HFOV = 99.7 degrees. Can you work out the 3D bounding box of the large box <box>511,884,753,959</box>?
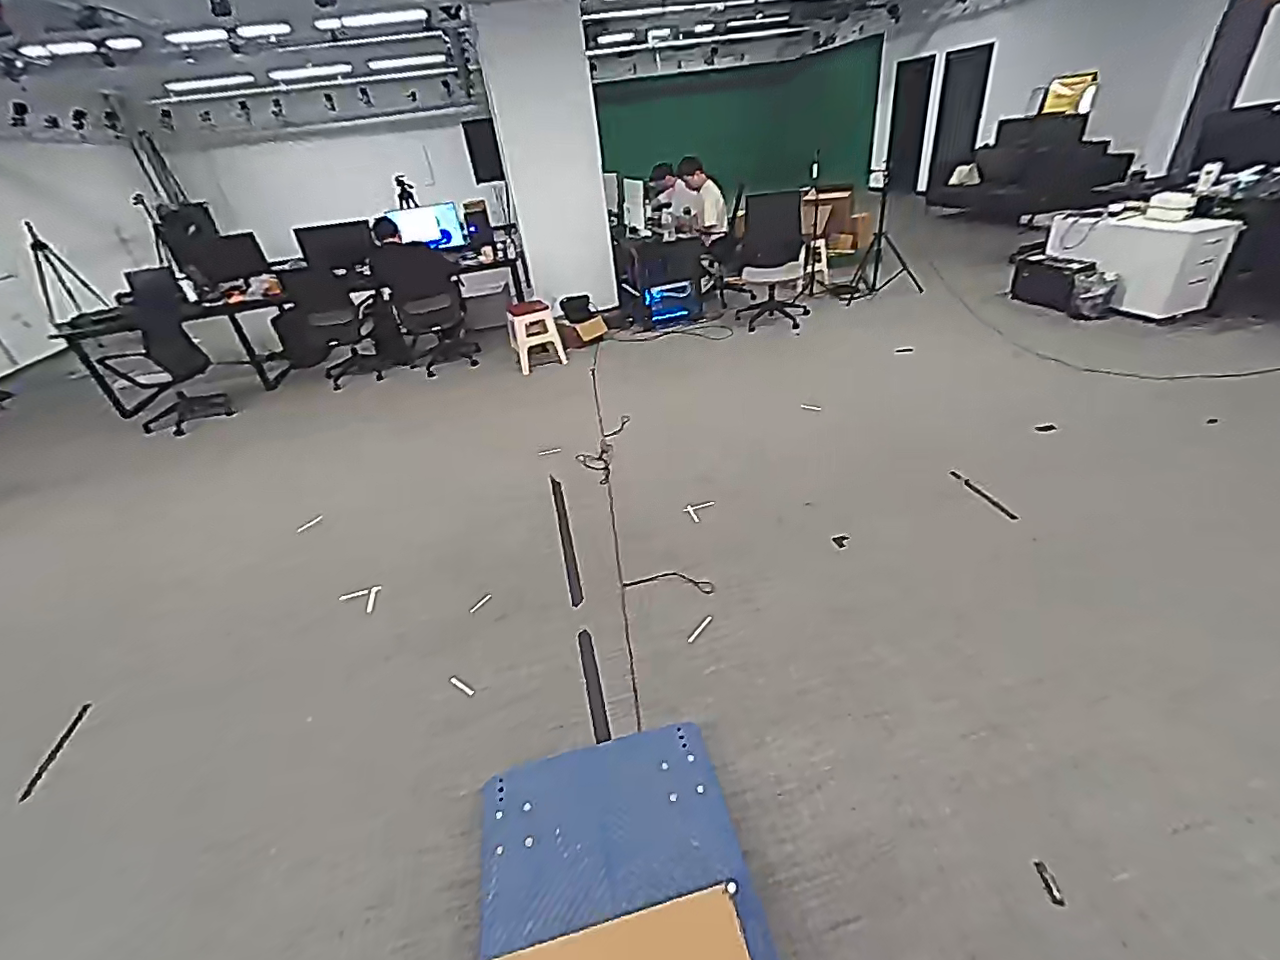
[{"bbox_3d":[0.008,0.923,0.831,0.408,0.320,0.320,-13,34,-8],"label":"large box"}]
